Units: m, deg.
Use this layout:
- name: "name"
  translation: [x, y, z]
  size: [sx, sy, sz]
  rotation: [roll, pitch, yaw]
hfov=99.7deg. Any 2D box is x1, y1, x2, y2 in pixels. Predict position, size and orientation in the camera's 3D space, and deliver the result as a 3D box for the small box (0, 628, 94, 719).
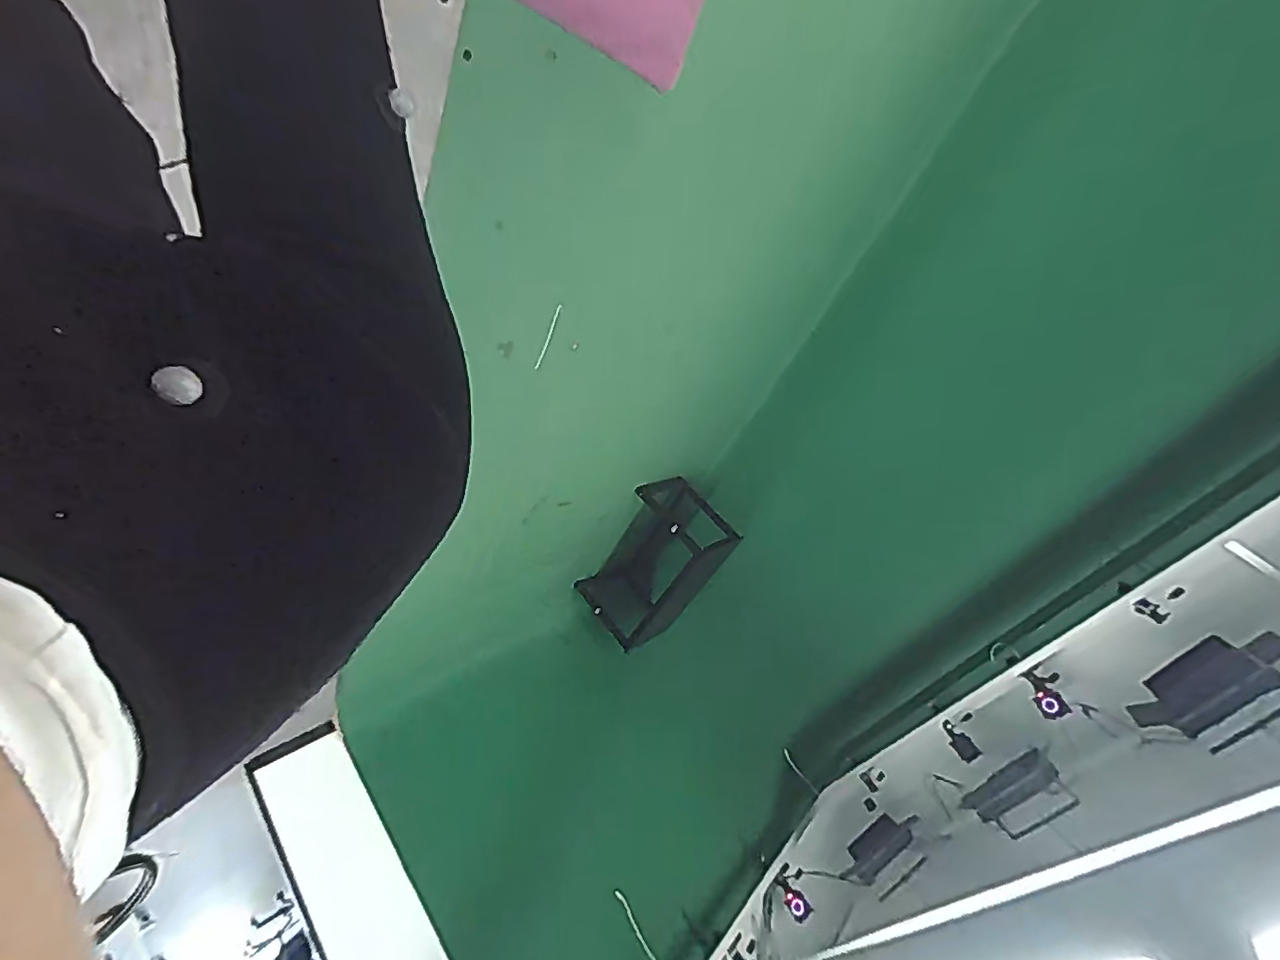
- name: "small box"
  translation: [-1.869, 0.603, 1.697]
  size: [0.179, 0.176, 0.168]
  rotation: [-19, 147, -44]
